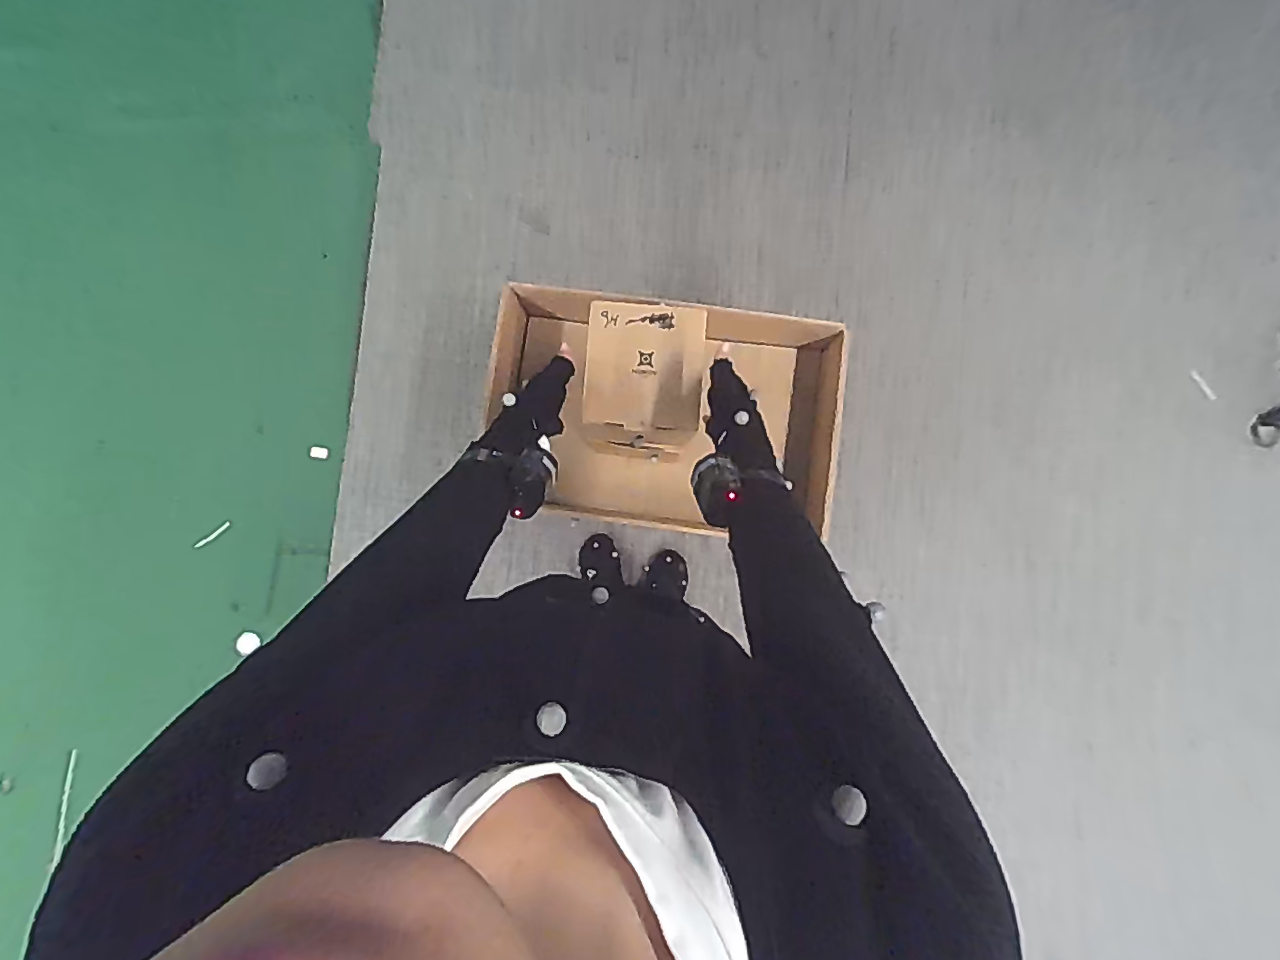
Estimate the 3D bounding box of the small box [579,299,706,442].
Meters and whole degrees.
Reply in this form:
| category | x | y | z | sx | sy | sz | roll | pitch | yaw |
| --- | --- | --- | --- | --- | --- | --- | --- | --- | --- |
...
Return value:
| category | x | y | z | sx | sy | sz | roll | pitch | yaw |
| --- | --- | --- | --- | --- | --- | --- | --- | --- | --- |
| small box | 0.004 | -0.156 | 0.830 | 0.168 | 0.176 | 0.179 | 5 | 87 | -1 |

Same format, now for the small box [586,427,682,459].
| category | x | y | z | sx | sy | sz | roll | pitch | yaw |
| --- | --- | --- | --- | --- | --- | --- | --- | --- | --- |
| small box | 0.000 | -0.139 | 0.993 | 0.168 | 0.176 | 0.179 | 7 | 85 | 0 |
